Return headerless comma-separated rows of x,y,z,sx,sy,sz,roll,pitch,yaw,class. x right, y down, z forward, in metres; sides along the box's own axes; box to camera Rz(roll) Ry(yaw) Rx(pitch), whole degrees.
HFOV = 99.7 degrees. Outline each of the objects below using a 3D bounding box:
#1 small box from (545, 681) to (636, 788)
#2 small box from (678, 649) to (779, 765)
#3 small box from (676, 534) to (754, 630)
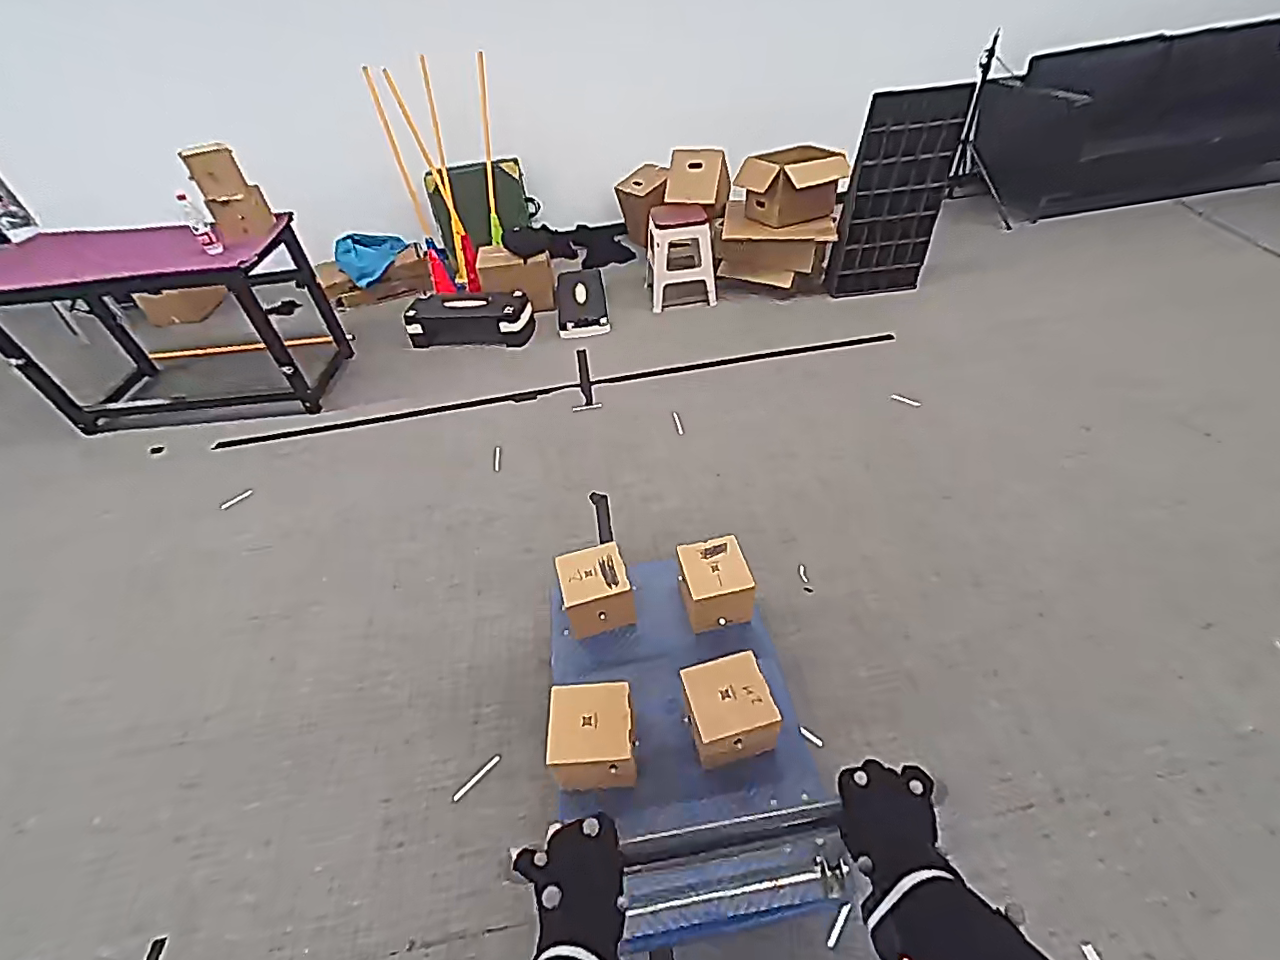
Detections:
-0.104,0.568,1.202,0.179,0.176,0.168,-4,44,0,small box
0.196,0.515,1.220,0.179,0.176,0.168,-14,45,-7,small box
0.196,0.277,1.462,0.168,0.176,0.179,-12,46,-5,small box
